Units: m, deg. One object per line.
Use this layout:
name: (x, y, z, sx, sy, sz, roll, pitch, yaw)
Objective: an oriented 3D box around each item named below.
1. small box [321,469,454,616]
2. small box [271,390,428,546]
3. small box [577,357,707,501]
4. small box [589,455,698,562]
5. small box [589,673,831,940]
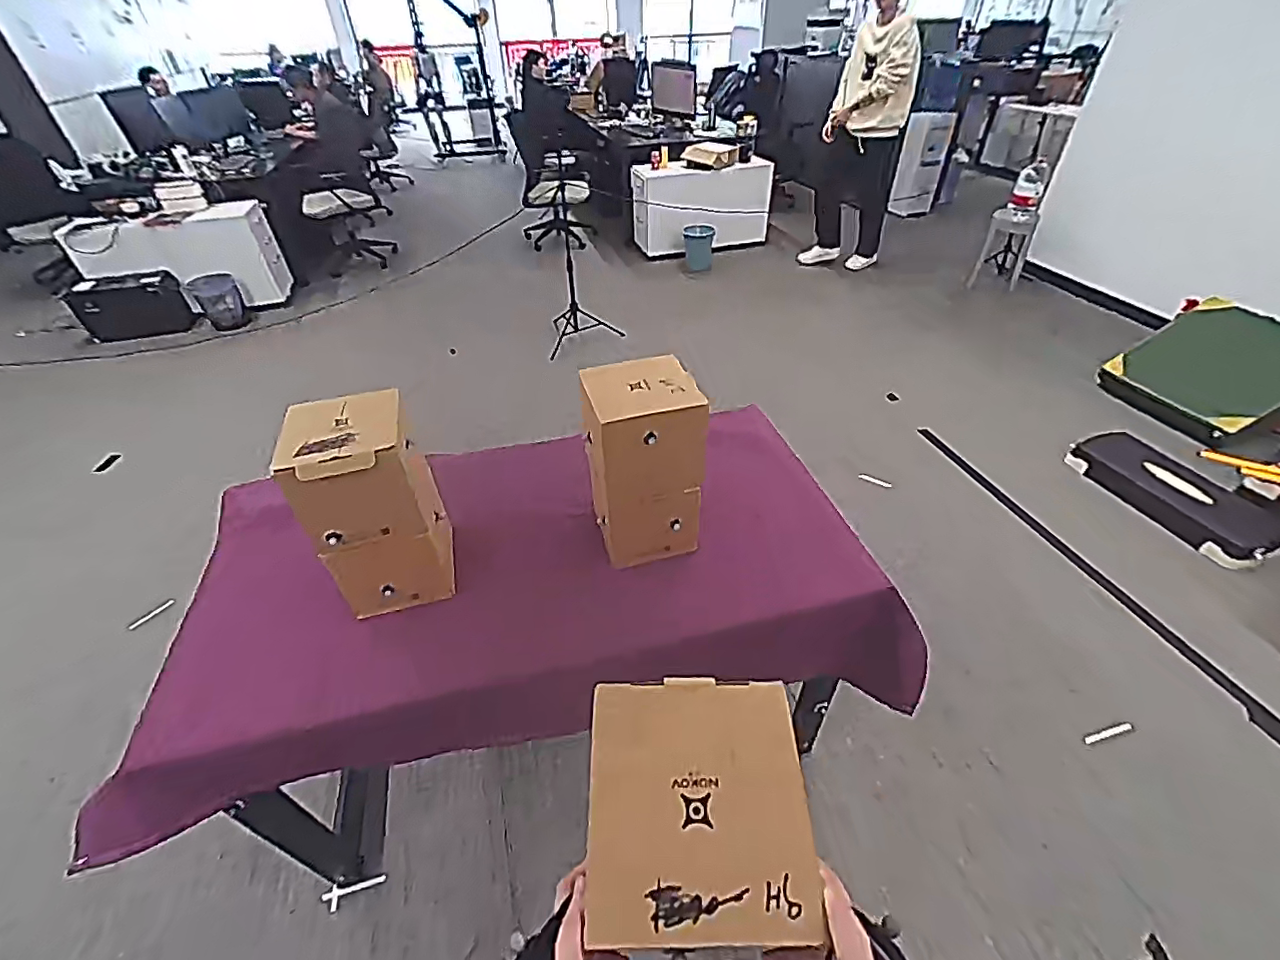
small box: (-0.434, 0.109, 0.958, 0.168, 0.176, 0.179, -12, 43, -12)
small box: (-0.439, -0.015, 0.850, 0.168, 0.176, 0.179, -12, 42, -13)
small box: (0.001, -0.085, 0.911, 0.179, 0.176, 0.168, -12, 43, -12)
small box: (0.005, 0.037, 1.022, 0.168, 0.176, 0.179, -11, 41, -11)
small box: (0.048, 0.288, 0.476, 0.168, 0.176, 0.179, -1, 49, 1)
